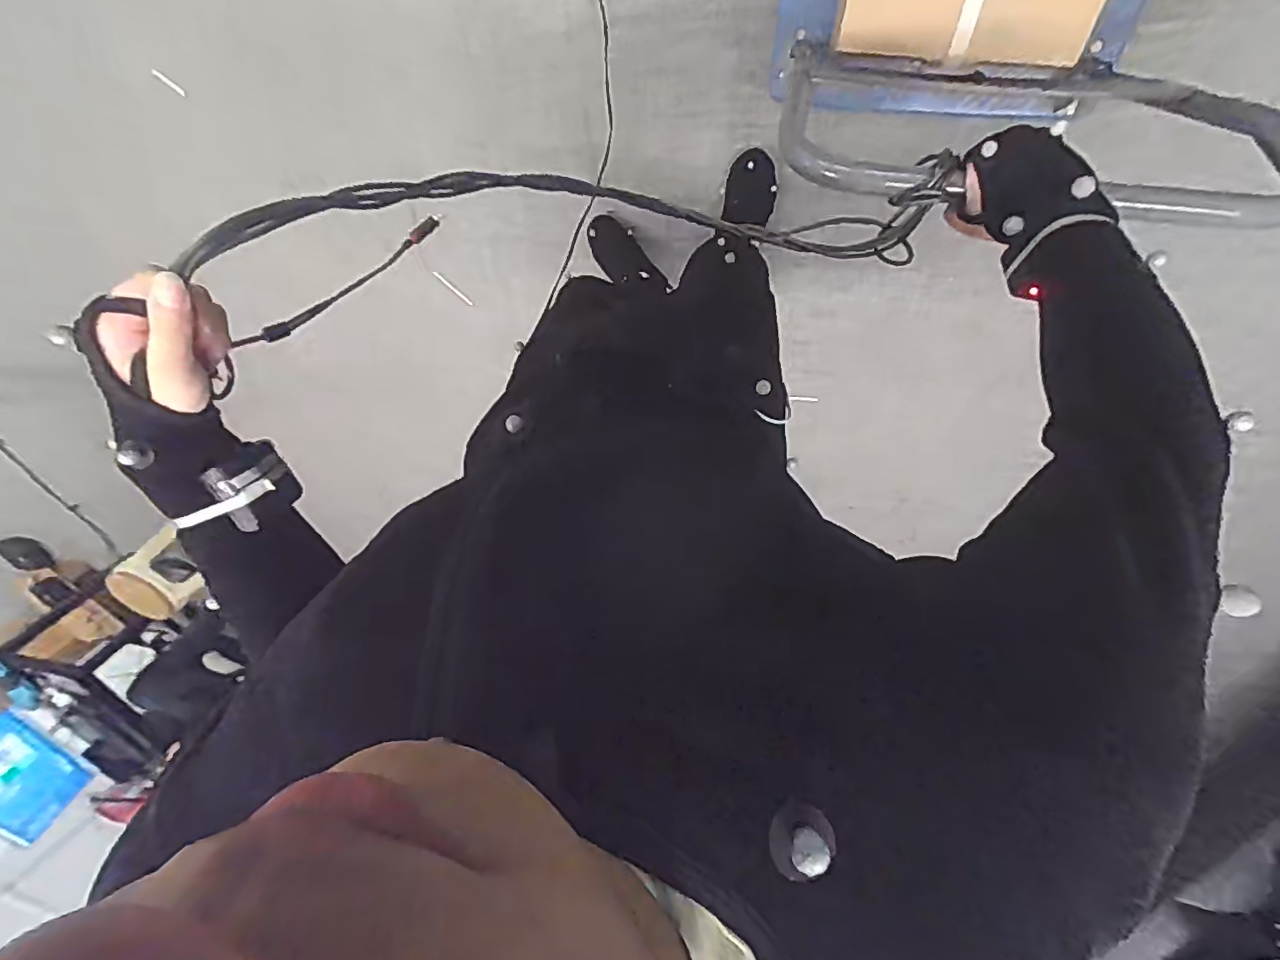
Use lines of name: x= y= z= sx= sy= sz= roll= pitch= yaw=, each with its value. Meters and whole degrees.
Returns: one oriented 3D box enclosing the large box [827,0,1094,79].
large box: x=0.464 y=-0.811 z=0.748 sx=0.320 sy=0.320 sz=0.408 roll=11 pitch=128 yaw=8
